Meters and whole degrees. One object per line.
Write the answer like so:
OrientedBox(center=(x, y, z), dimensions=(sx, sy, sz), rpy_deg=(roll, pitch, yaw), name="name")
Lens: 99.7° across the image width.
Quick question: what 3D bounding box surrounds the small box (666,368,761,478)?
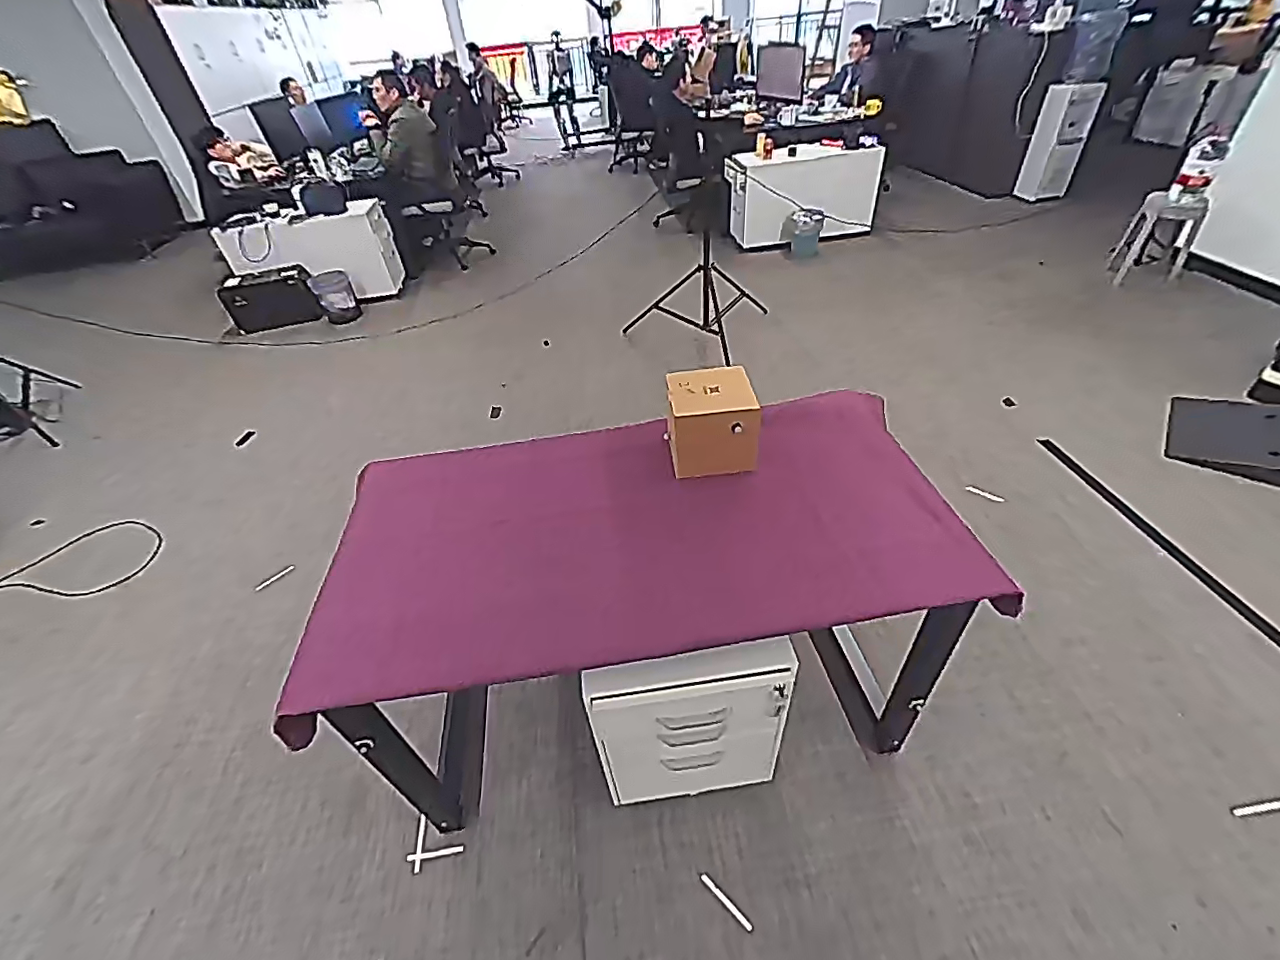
OrientedBox(center=(0.154, -0.122, 1.178), dimensions=(0.179, 0.176, 0.168), rpy_deg=(-7, 42, 0), name="small box")
